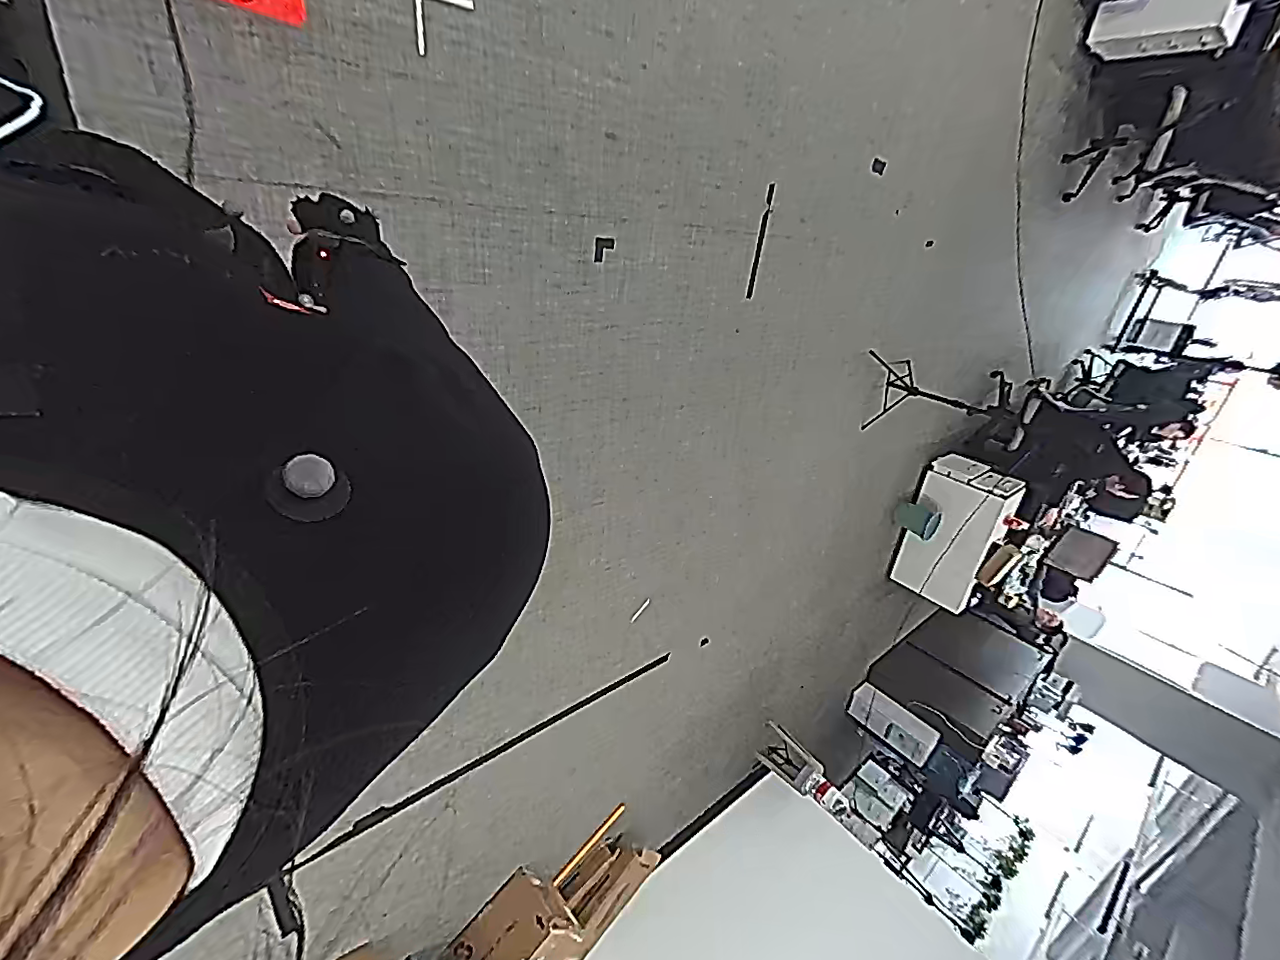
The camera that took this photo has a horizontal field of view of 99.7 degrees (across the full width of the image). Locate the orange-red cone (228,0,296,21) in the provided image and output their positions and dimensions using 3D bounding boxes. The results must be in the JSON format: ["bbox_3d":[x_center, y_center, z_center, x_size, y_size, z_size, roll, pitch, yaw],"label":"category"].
[{"bbox_3d":[-0.587,-0.856,0.800,0.199,0.360,0.198,-10,121,-41],"label":"orange-red cone"}]

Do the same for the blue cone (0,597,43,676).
[{"bbox_3d":[-1.218,0.384,0.947,0.192,0.380,0.193,-9,119,-39],"label":"blue cone"}]
